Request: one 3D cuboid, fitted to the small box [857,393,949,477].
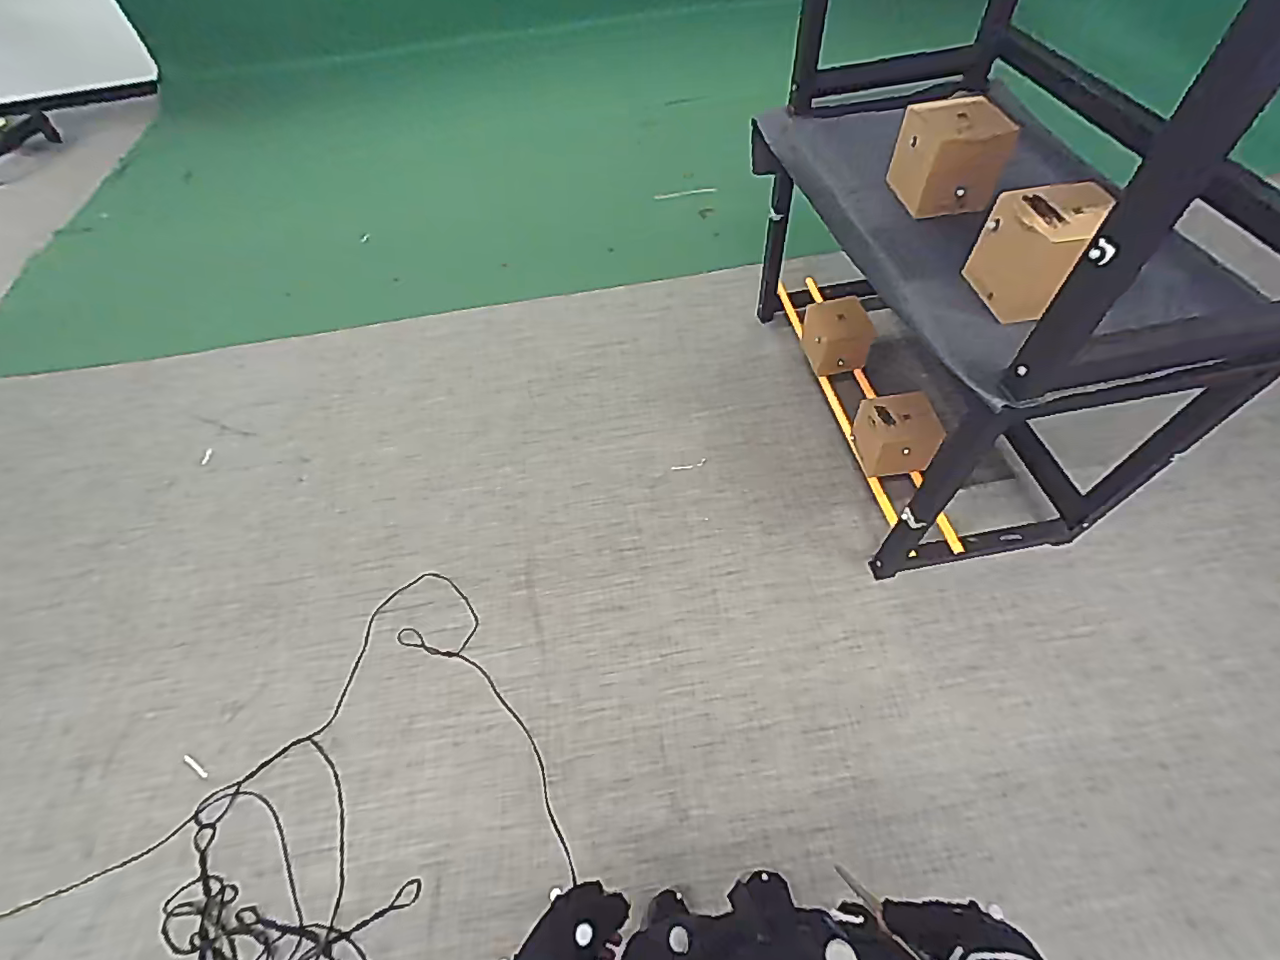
[{"bbox_3d":[0.740,-0.124,1.551,0.179,0.176,0.168,-8,55,1],"label":"small box"}]

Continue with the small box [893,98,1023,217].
[{"bbox_3d":[0.691,-0.715,1.204,0.168,0.176,0.179,-8,55,1],"label":"small box"}]
